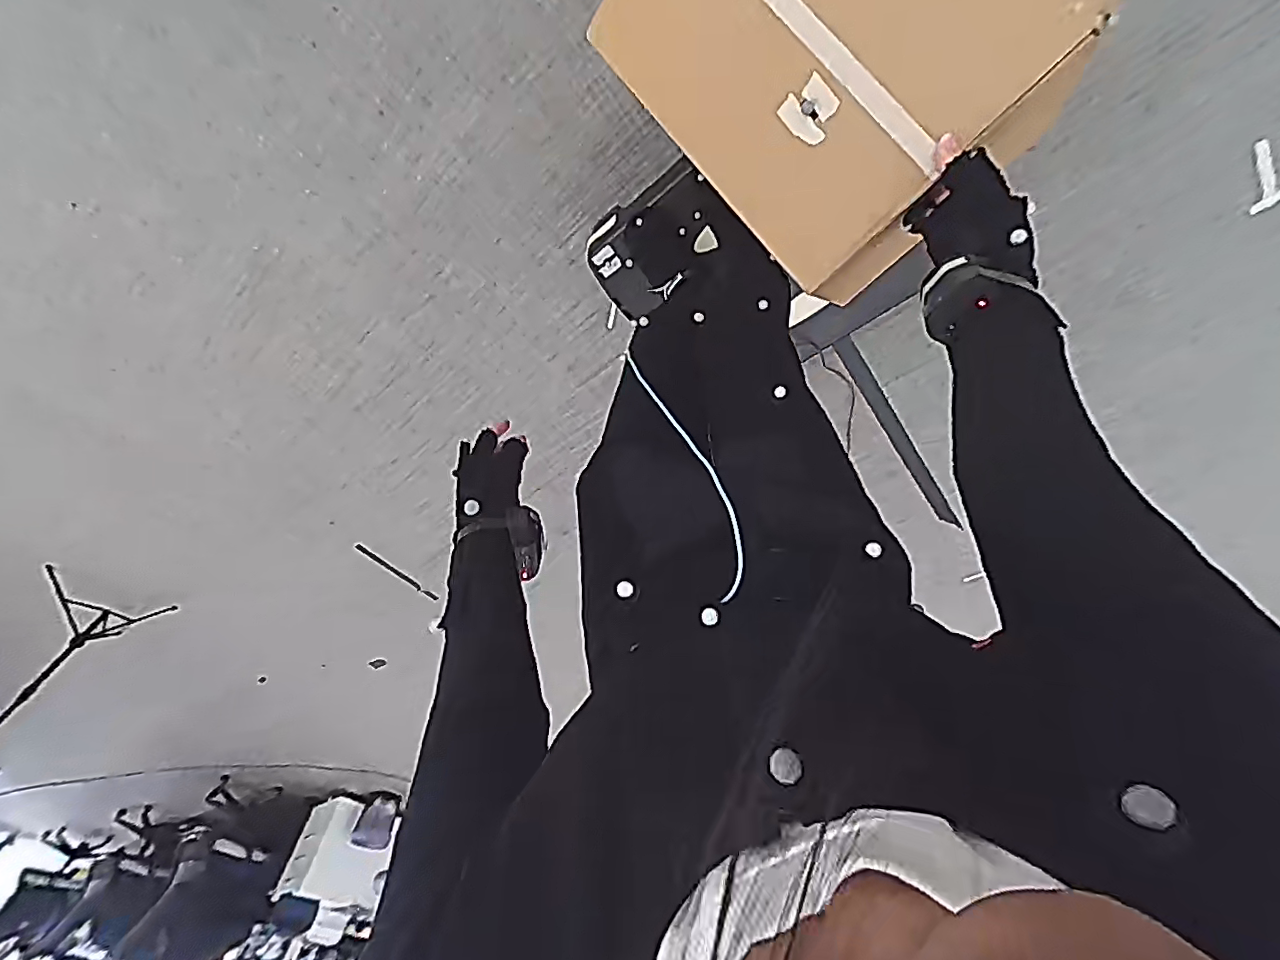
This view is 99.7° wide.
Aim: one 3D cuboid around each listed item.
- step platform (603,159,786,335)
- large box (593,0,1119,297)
[{"bbox_3d":[0.244,-0.612,1.130,0.684,0.204,0.286,-32,121,27],"label":"step platform"},{"bbox_3d":[0.229,-0.481,0.656,0.320,0.320,0.408,-42,84,31],"label":"large box"}]
